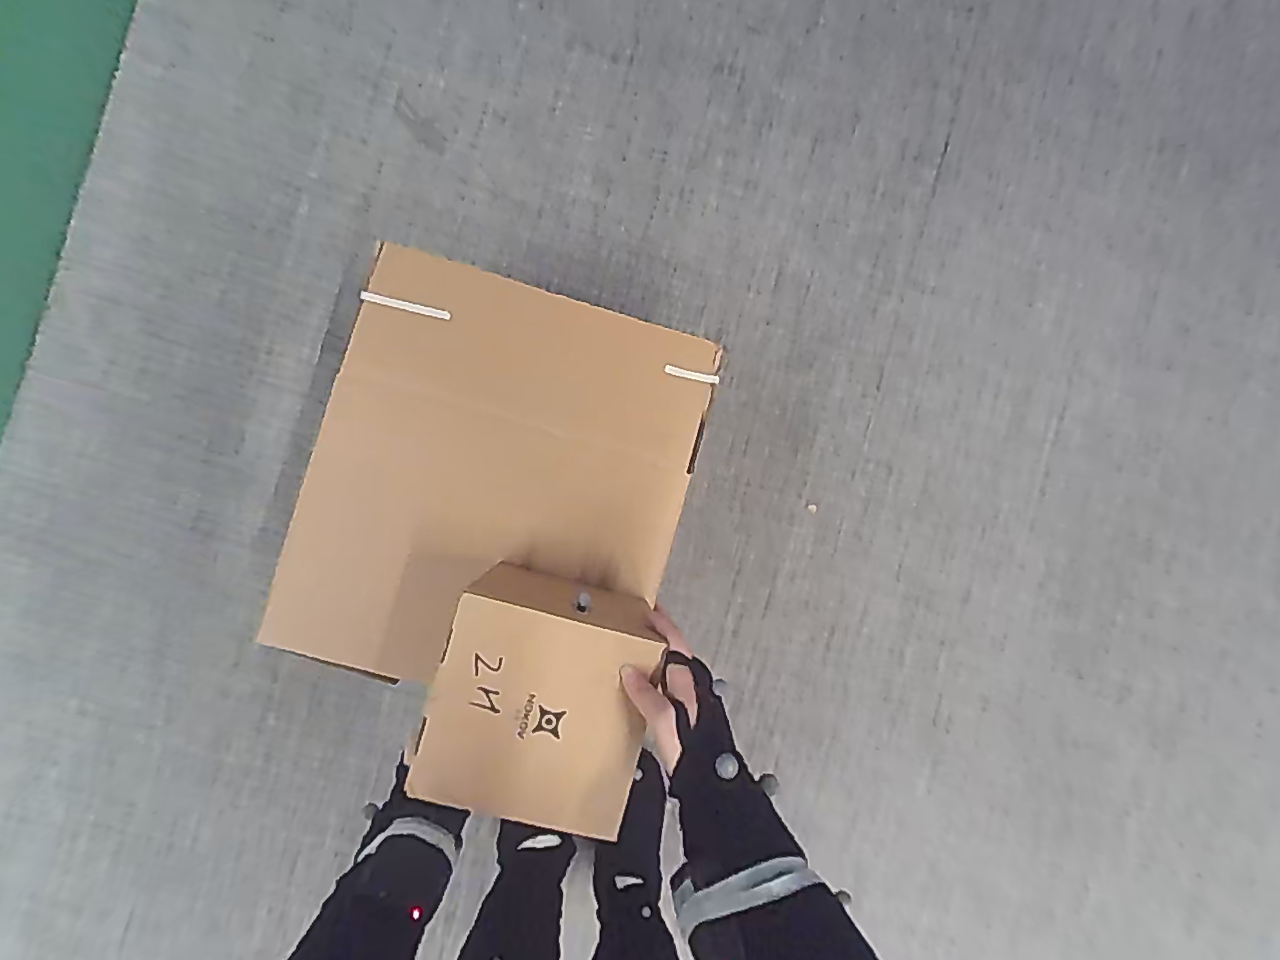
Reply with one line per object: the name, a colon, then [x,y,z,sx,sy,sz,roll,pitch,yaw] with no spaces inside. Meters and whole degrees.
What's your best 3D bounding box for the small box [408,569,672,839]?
small box: [-0.085,0.191,0.514,0.179,0.176,0.168,16,87,-4]
